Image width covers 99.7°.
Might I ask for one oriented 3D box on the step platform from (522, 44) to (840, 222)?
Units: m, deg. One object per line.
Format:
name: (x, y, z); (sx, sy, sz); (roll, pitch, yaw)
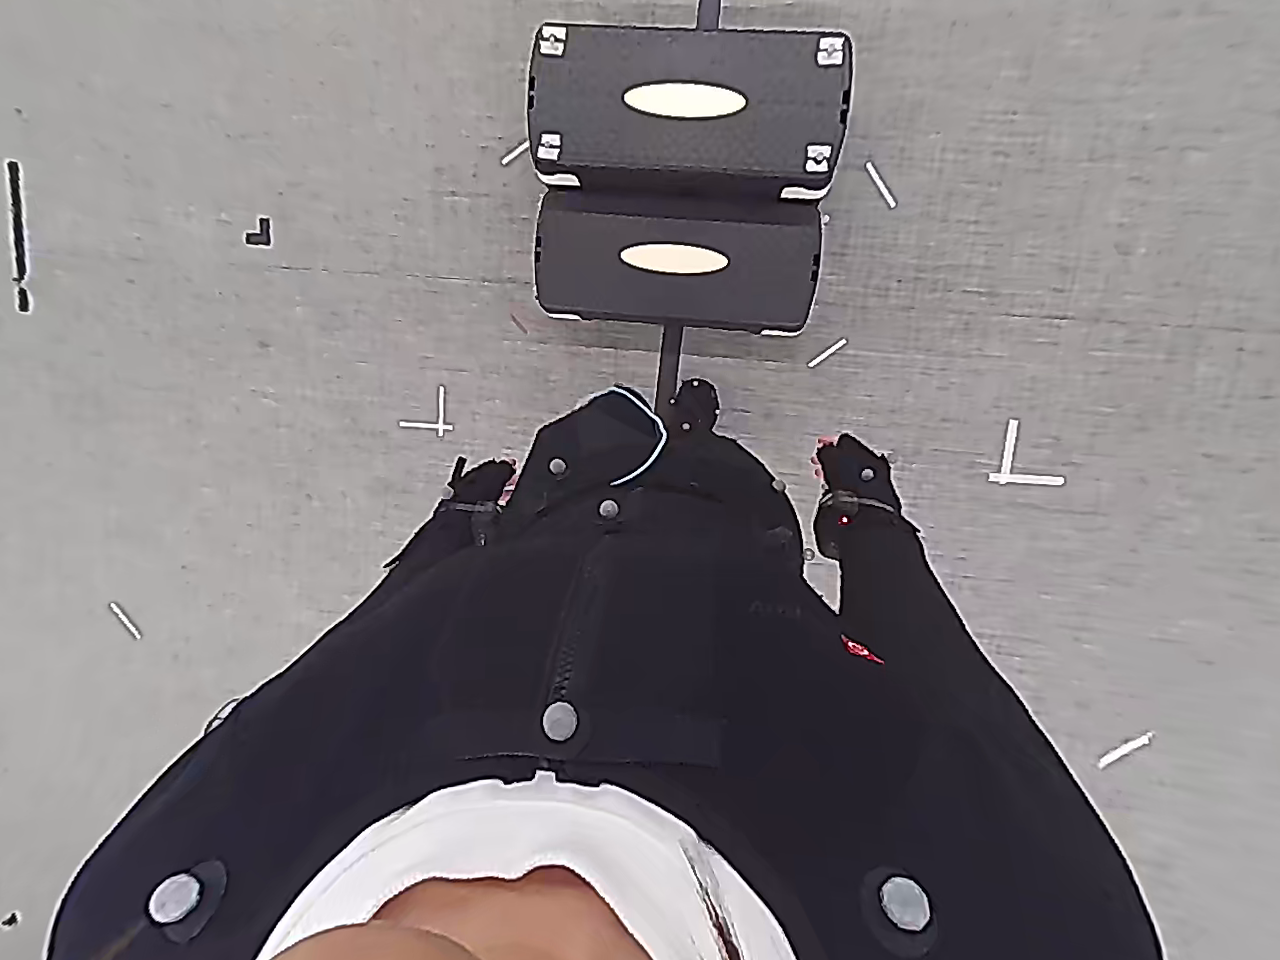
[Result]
step platform: (0.083, -0.768, 1.212); (0.684, 0.204, 0.286); (5, 101, 4)
